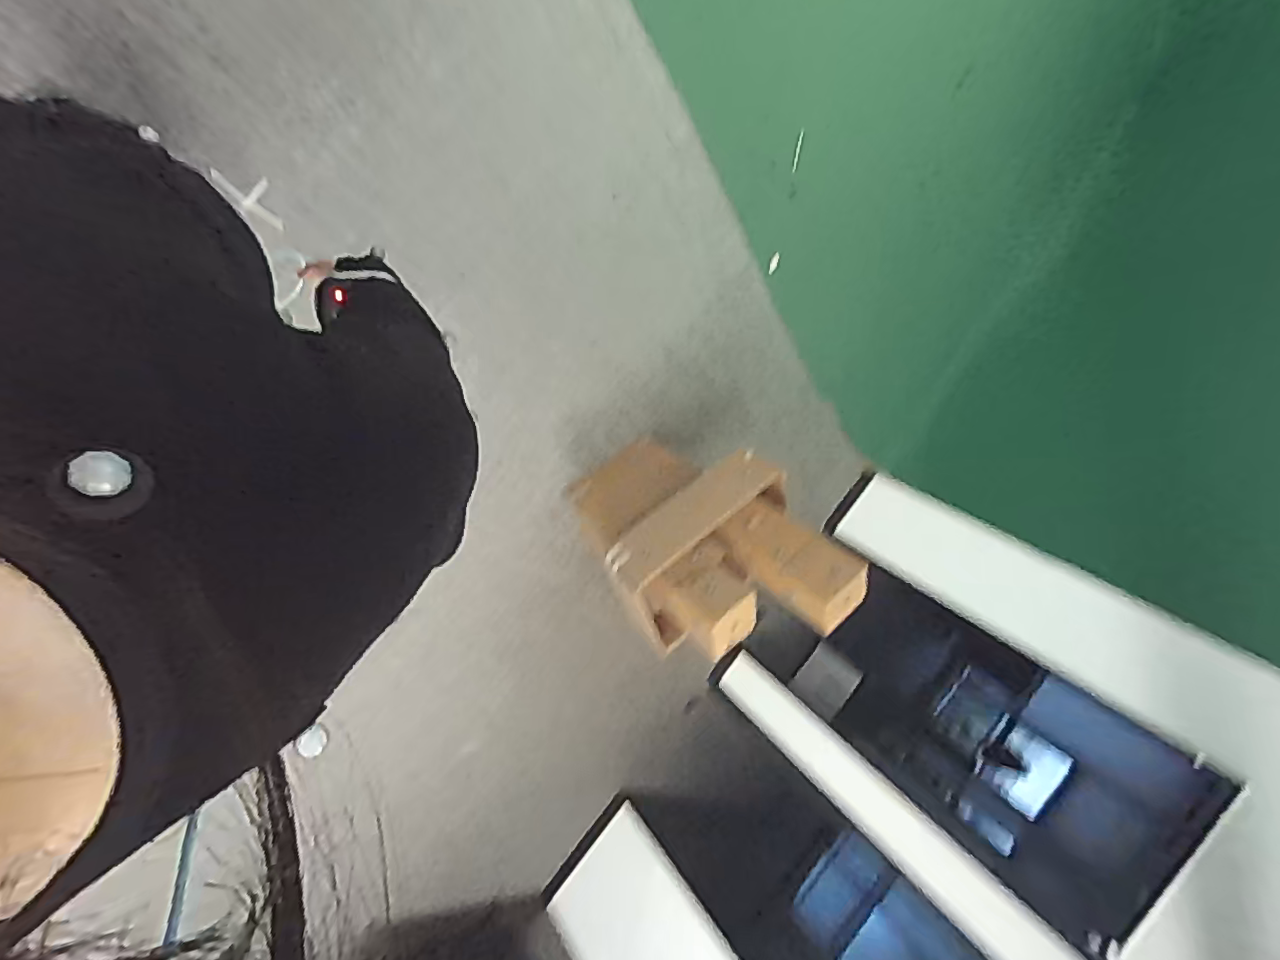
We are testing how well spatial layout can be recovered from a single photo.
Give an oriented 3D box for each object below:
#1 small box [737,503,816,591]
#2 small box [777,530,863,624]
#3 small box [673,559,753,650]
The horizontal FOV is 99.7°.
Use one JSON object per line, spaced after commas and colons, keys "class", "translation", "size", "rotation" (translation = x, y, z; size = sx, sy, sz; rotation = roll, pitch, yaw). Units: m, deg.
{"class": "small box", "translation": [0.430, 0.204, 1.700], "size": [0.179, 0.176, 0.168], "rotation": [-37, 136, -16]}
{"class": "small box", "translation": [0.527, 0.279, 1.589], "size": [0.179, 0.176, 0.168], "rotation": [-37, 136, -16]}
{"class": "small box", "translation": [0.215, 0.360, 1.605], "size": [0.168, 0.176, 0.179], "rotation": [-32, 134, -22]}
